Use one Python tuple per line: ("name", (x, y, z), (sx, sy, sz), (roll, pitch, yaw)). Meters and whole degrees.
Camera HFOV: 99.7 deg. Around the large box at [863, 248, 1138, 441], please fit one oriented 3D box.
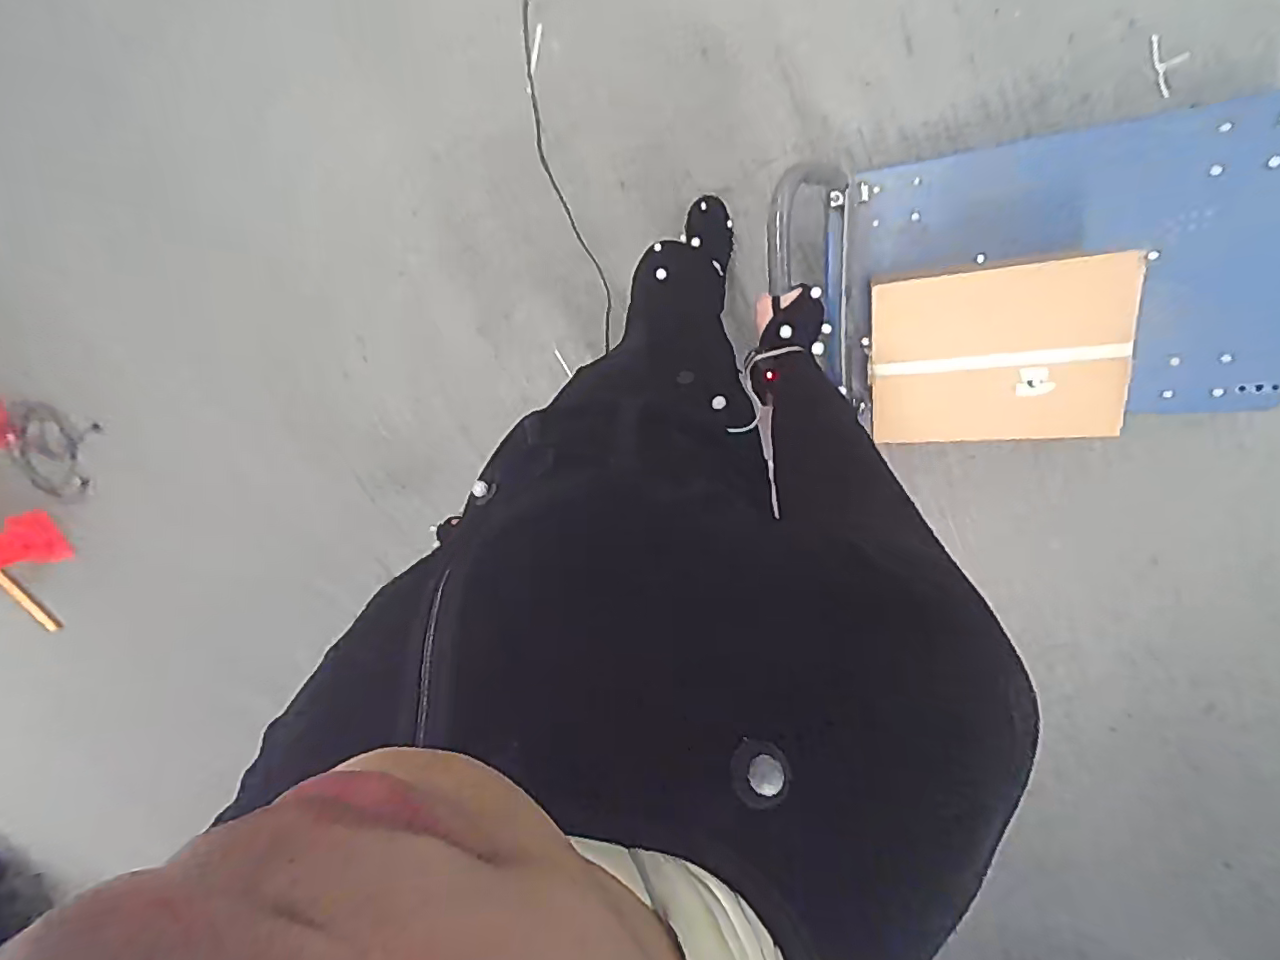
("large box", (0.681, -0.278, 1.112), (0.408, 0.320, 0.320), (0, 112, 21))
